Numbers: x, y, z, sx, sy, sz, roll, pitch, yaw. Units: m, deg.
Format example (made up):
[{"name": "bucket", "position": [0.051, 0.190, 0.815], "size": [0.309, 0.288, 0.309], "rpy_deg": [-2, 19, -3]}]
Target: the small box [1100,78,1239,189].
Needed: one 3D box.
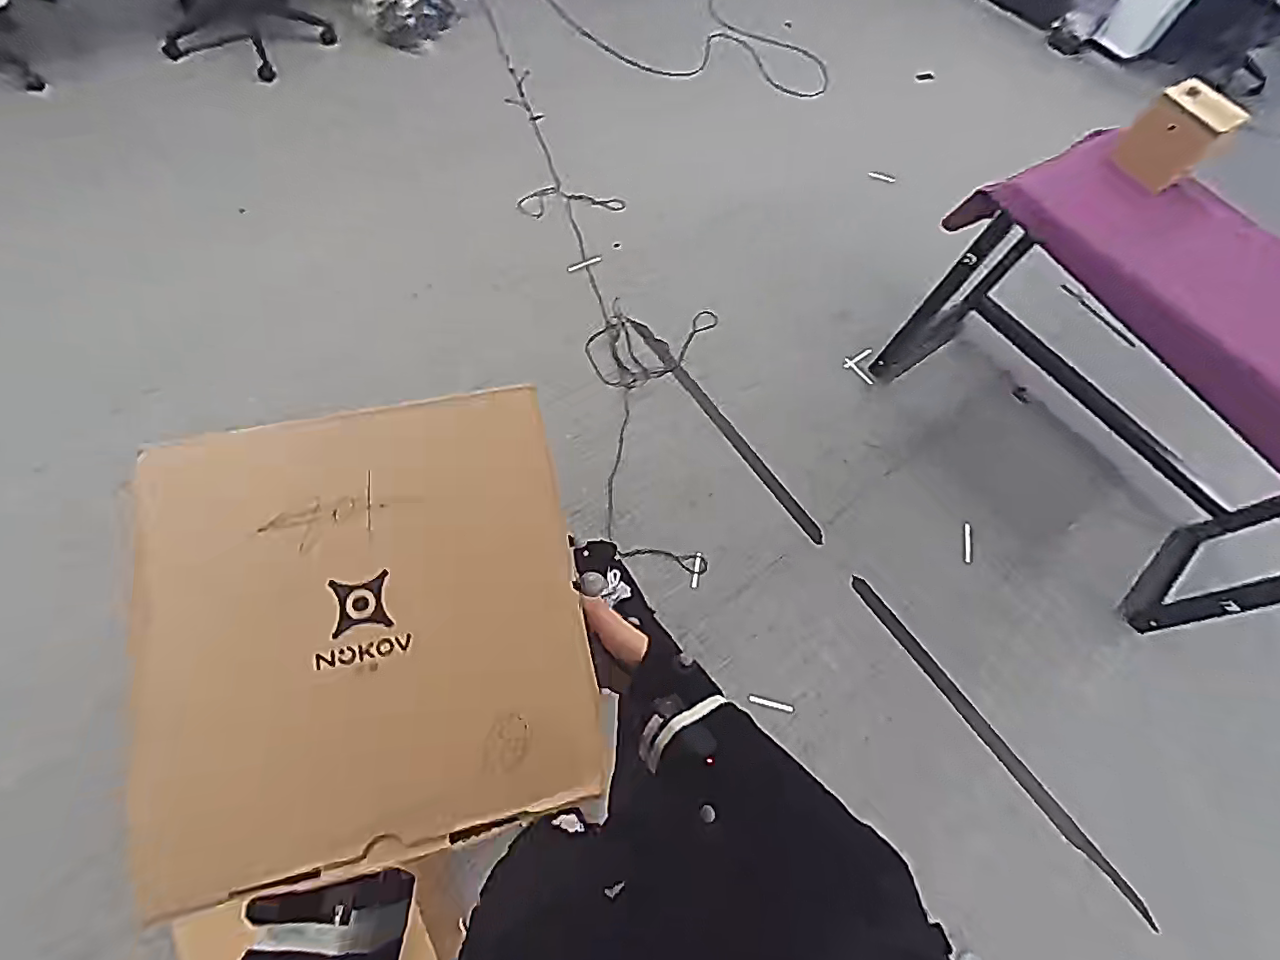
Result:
[{"name": "small box", "position": [1.388, -0.915, 1.431], "size": [0.168, 0.176, 0.179], "rpy_deg": [-29, 73, -20]}]

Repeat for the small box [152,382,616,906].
[{"name": "small box", "position": [-0.109, 0.073, 0.293], "size": [0.168, 0.176, 0.179], "rpy_deg": [-11, 74, -8]}]

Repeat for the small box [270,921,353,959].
[{"name": "small box", "position": [-0.423, 0.653, 0.611], "size": [0.179, 0.176, 0.168], "rpy_deg": [-26, 70, -22]}]
